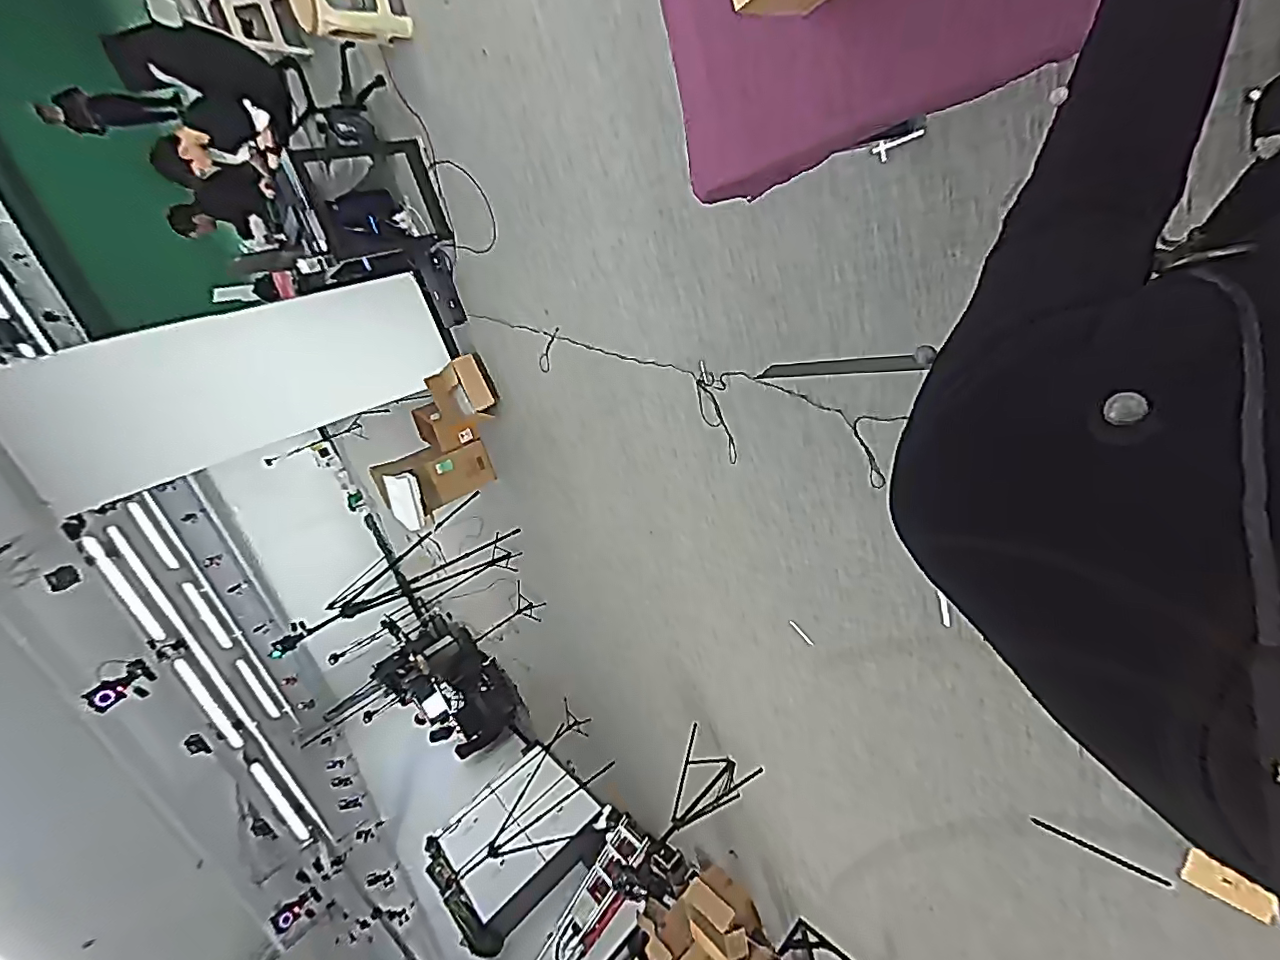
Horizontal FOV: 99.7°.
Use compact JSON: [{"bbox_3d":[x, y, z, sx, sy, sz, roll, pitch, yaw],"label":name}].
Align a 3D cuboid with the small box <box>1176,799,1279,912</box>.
[{"bbox_3d":[1.677,1.051,1.536,0.179,0.176,0.168,17,129,45],"label":"small box"}]
